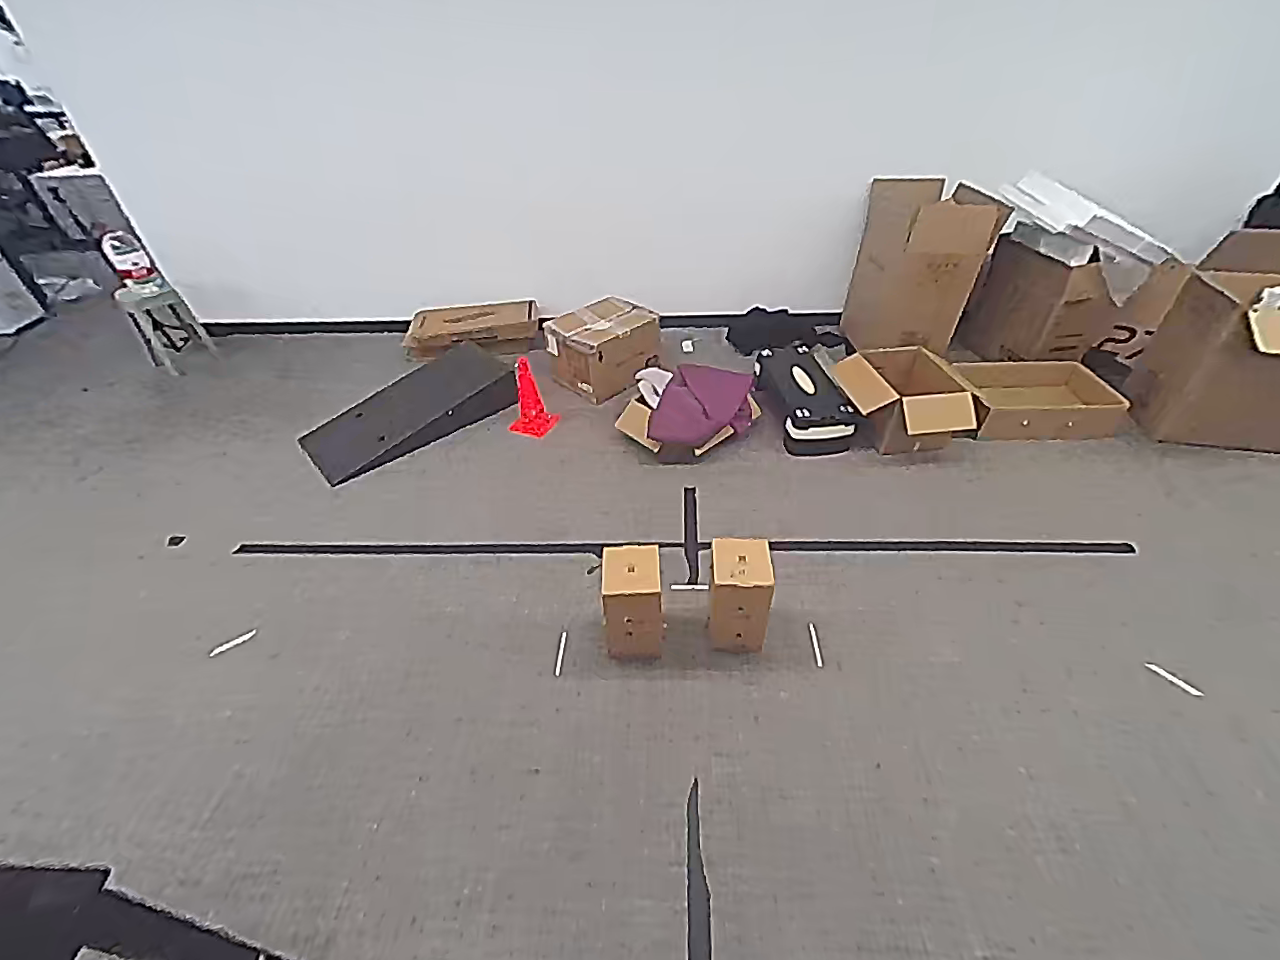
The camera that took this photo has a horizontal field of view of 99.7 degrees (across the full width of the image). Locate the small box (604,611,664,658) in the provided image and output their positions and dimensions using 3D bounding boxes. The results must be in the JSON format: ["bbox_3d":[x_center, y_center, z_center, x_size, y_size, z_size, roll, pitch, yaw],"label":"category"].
[{"bbox_3d":[-0.016,0.444,1.694,0.179,0.176,0.168,-1,40,1],"label":"small box"}]

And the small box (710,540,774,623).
[{"bbox_3d":[0.294,0.298,1.594,0.168,0.176,0.179,1,41,4],"label":"small box"}]

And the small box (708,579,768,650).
[{"bbox_3d":[0.303,0.420,1.706,0.168,0.176,0.179,0,41,3],"label":"small box"}]

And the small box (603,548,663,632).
[{"bbox_3d":[-0.019,0.321,1.587,0.168,0.176,0.179,-4,41,1],"label":"small box"}]
